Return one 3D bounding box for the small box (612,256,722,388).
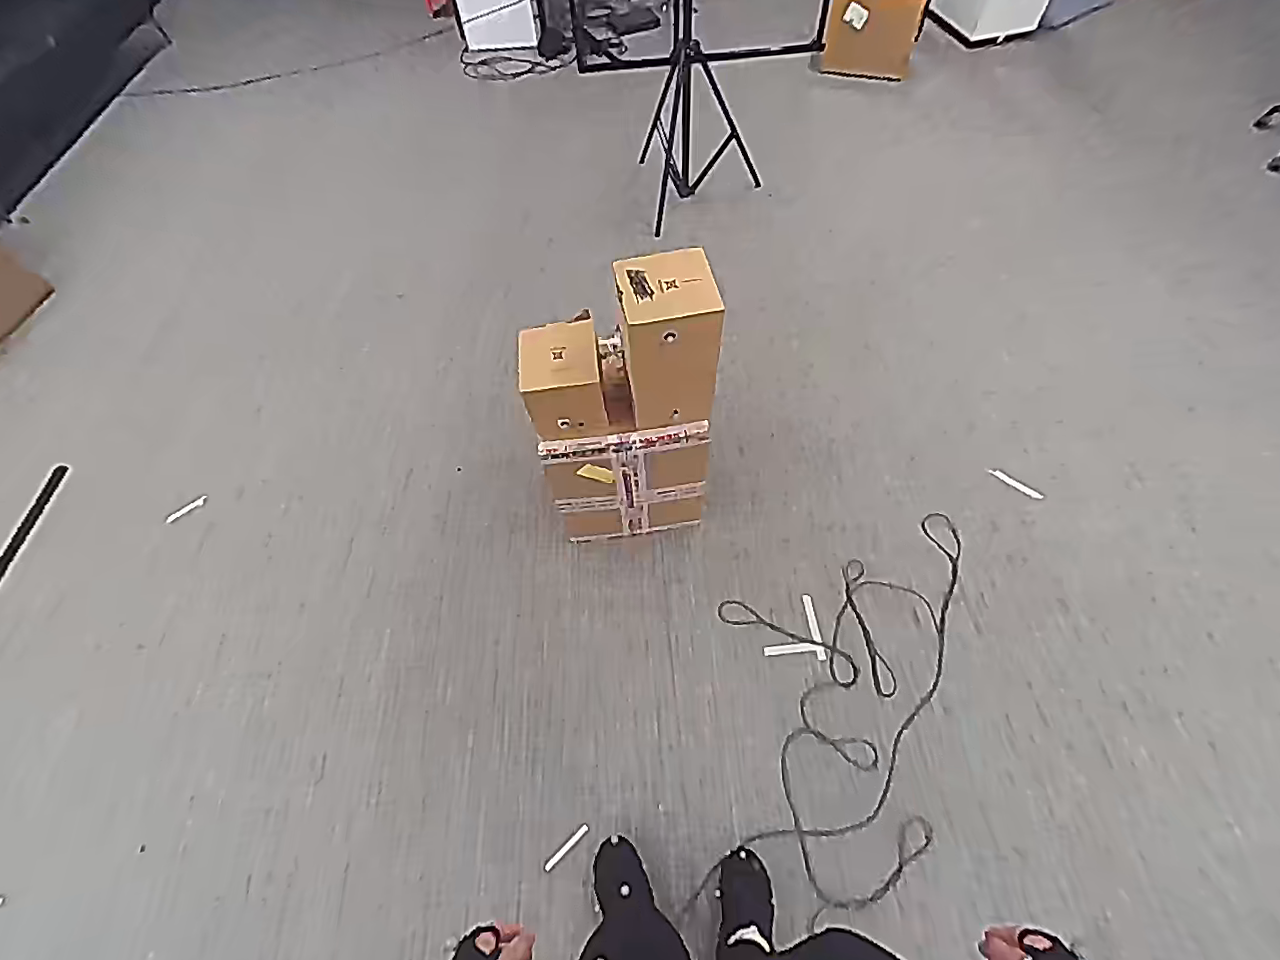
[{"bbox_3d":[0.050,-0.300,1.050,0.179,0.176,0.168,-11,62,-3],"label":"small box"}]

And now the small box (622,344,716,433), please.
[{"bbox_3d":[0.058,-0.226,1.198,0.179,0.176,0.168,-11,62,-4],"label":"small box"}]

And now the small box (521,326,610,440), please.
[{"bbox_3d":[-0.164,-0.212,1.203,0.168,0.176,0.179,-9,62,1],"label":"small box"}]
